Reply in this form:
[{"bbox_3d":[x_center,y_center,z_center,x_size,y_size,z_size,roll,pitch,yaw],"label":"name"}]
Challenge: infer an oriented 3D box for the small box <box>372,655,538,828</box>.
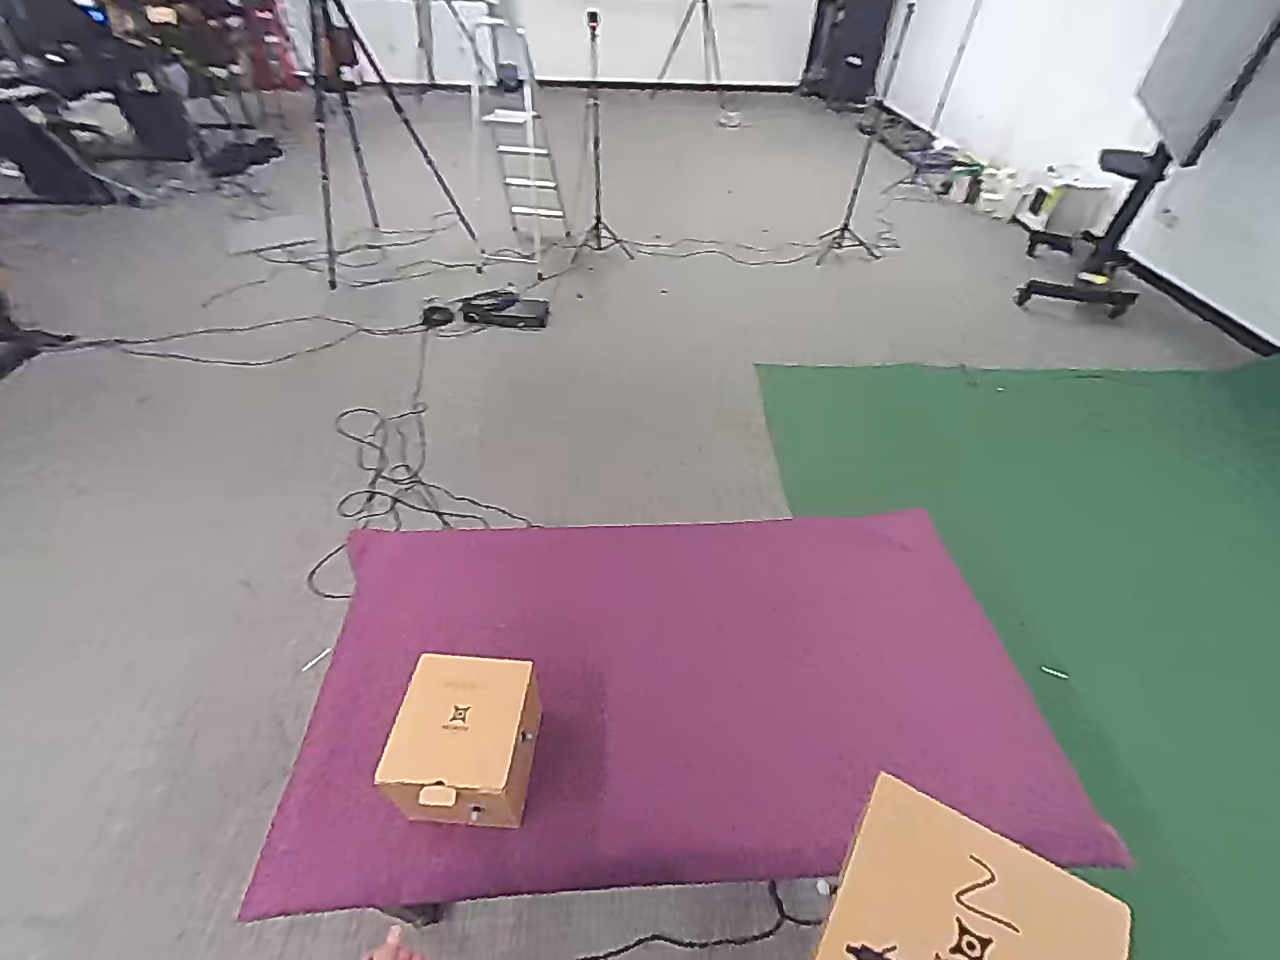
[{"bbox_3d":[-0.249,0.379,0.782,0.168,0.176,0.179,5,43,2],"label":"small box"}]
